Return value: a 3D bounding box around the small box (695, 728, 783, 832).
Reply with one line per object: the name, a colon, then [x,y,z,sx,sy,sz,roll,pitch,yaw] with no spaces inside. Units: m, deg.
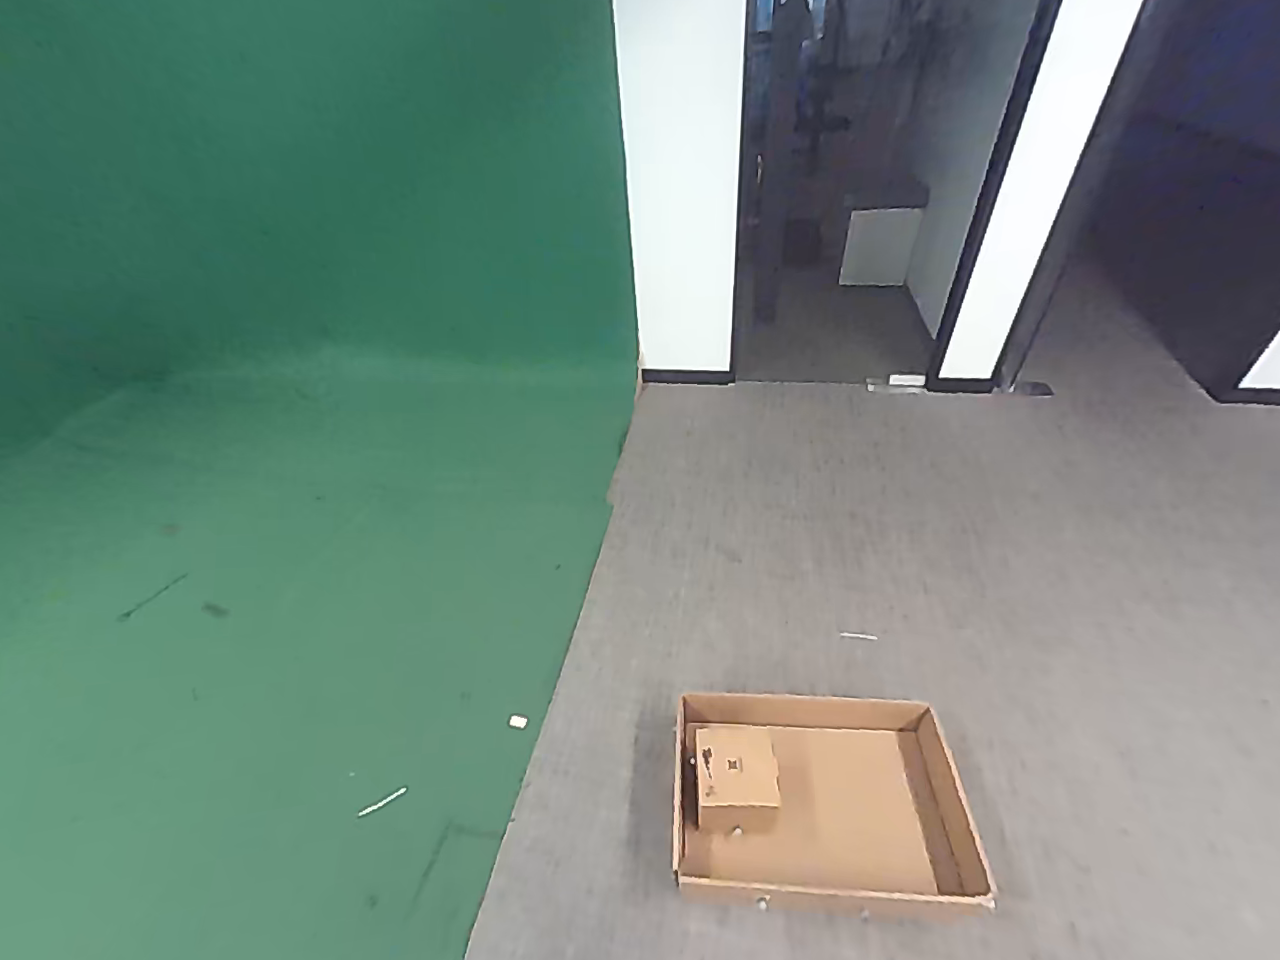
small box: [0.220,0.696,1.253,0.179,0.176,0.168,-1,40,3]
